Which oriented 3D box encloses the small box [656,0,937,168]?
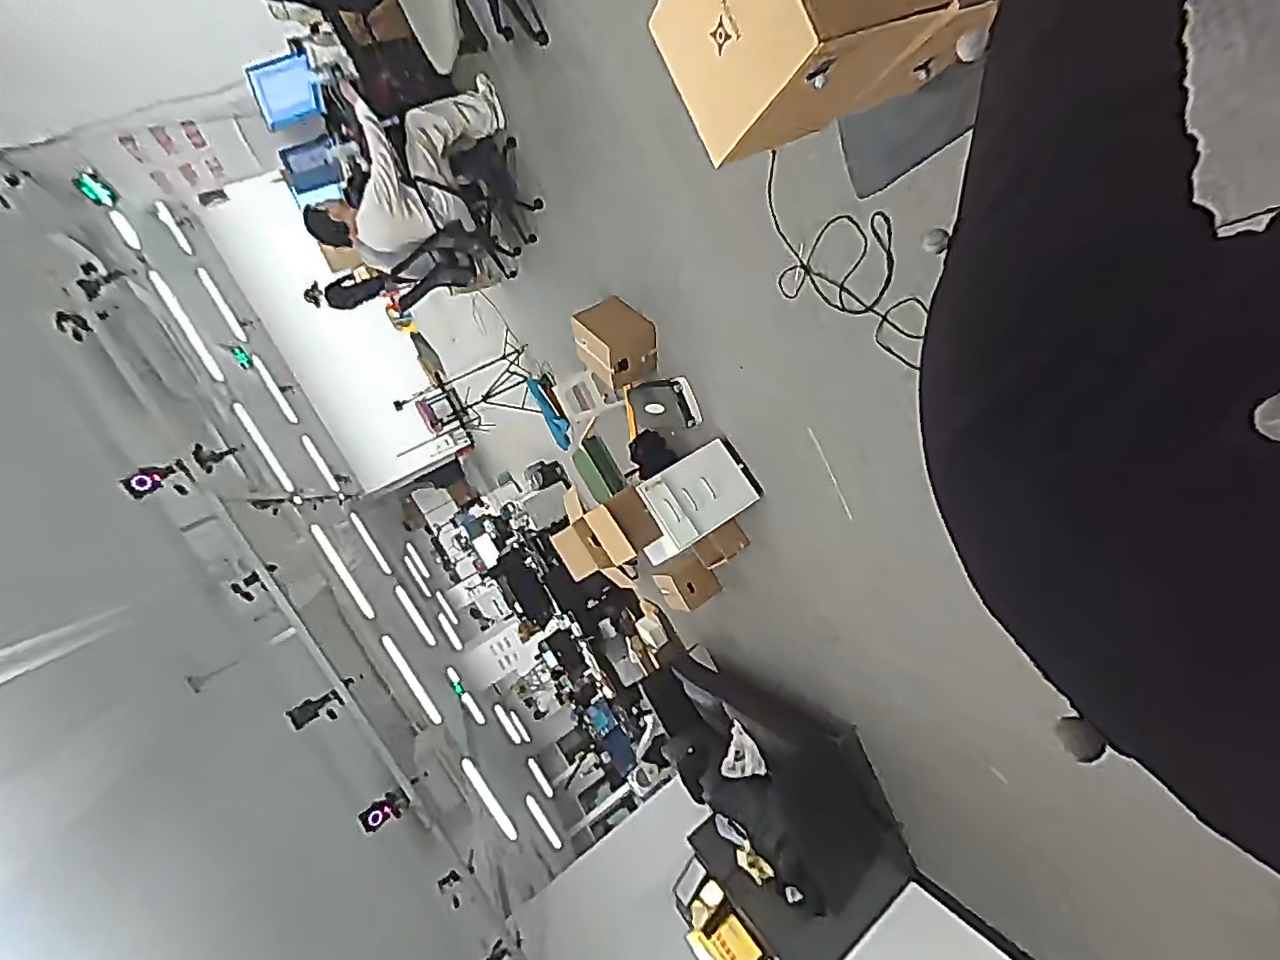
[{"bbox_3d":[0.148,-0.454,0.533,0.168,0.176,0.179,62,160,-7],"label":"small box"}]

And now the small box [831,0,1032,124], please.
[{"bbox_3d":[0.286,-0.530,0.574,0.168,0.176,0.179,63,161,-11],"label":"small box"}]
